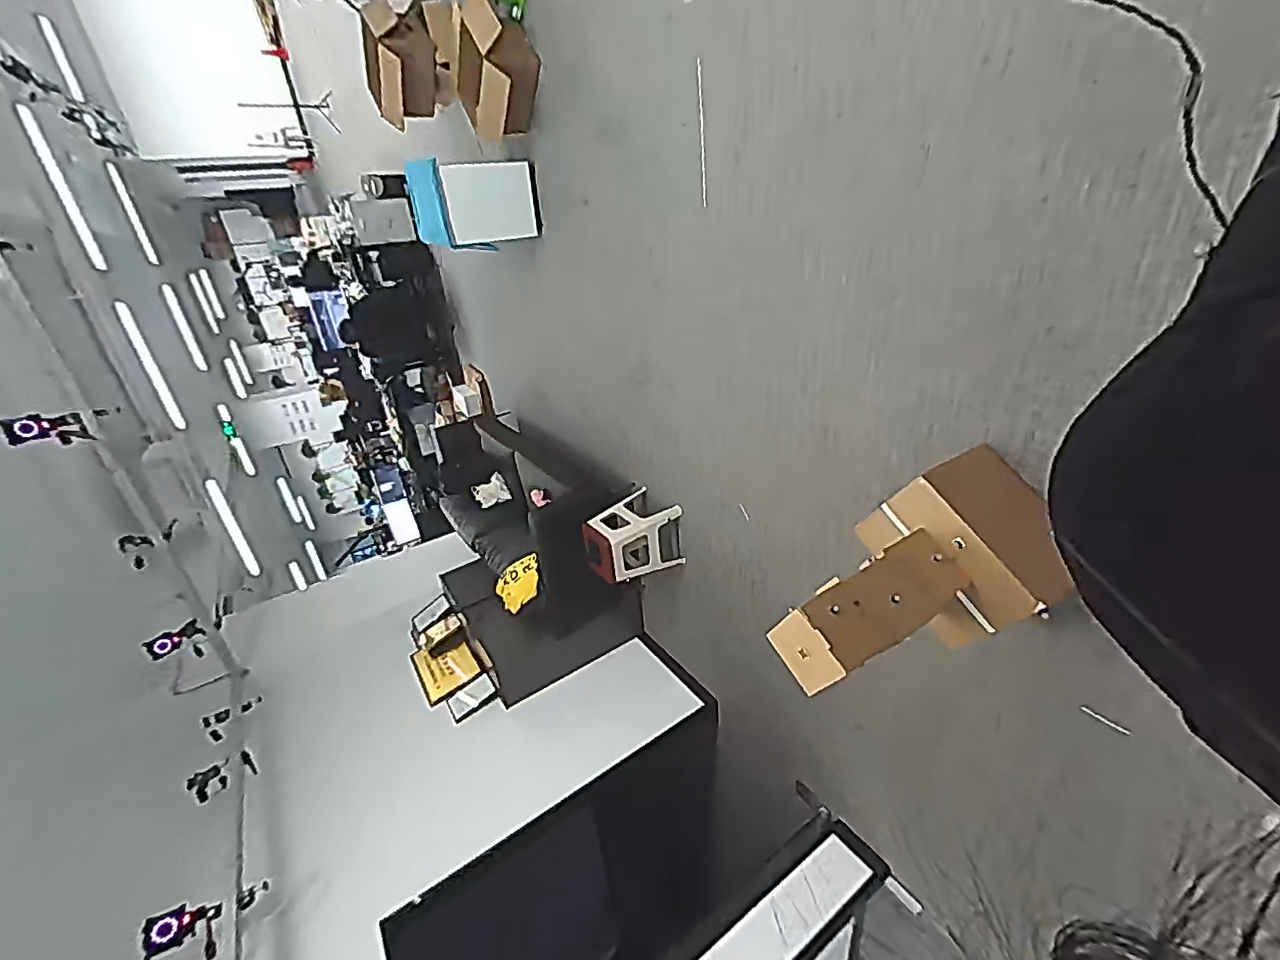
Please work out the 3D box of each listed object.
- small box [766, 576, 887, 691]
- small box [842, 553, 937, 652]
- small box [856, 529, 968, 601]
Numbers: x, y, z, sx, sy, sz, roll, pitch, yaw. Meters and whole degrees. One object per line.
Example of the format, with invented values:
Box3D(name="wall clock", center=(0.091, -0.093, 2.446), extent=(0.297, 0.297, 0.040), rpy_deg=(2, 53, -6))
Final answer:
Box3D(name="small box", center=(0.429, 0.348, 1.239), extent=(0.168, 0.176, 0.179), rpy_deg=(55, 150, 24))
Box3D(name="small box", center=(0.566, 0.296, 1.310), extent=(0.179, 0.176, 0.168), rpy_deg=(55, 150, 21))
Box3D(name="small box", center=(0.694, 0.246, 1.403), extent=(0.179, 0.176, 0.168), rpy_deg=(55, 150, 26))
